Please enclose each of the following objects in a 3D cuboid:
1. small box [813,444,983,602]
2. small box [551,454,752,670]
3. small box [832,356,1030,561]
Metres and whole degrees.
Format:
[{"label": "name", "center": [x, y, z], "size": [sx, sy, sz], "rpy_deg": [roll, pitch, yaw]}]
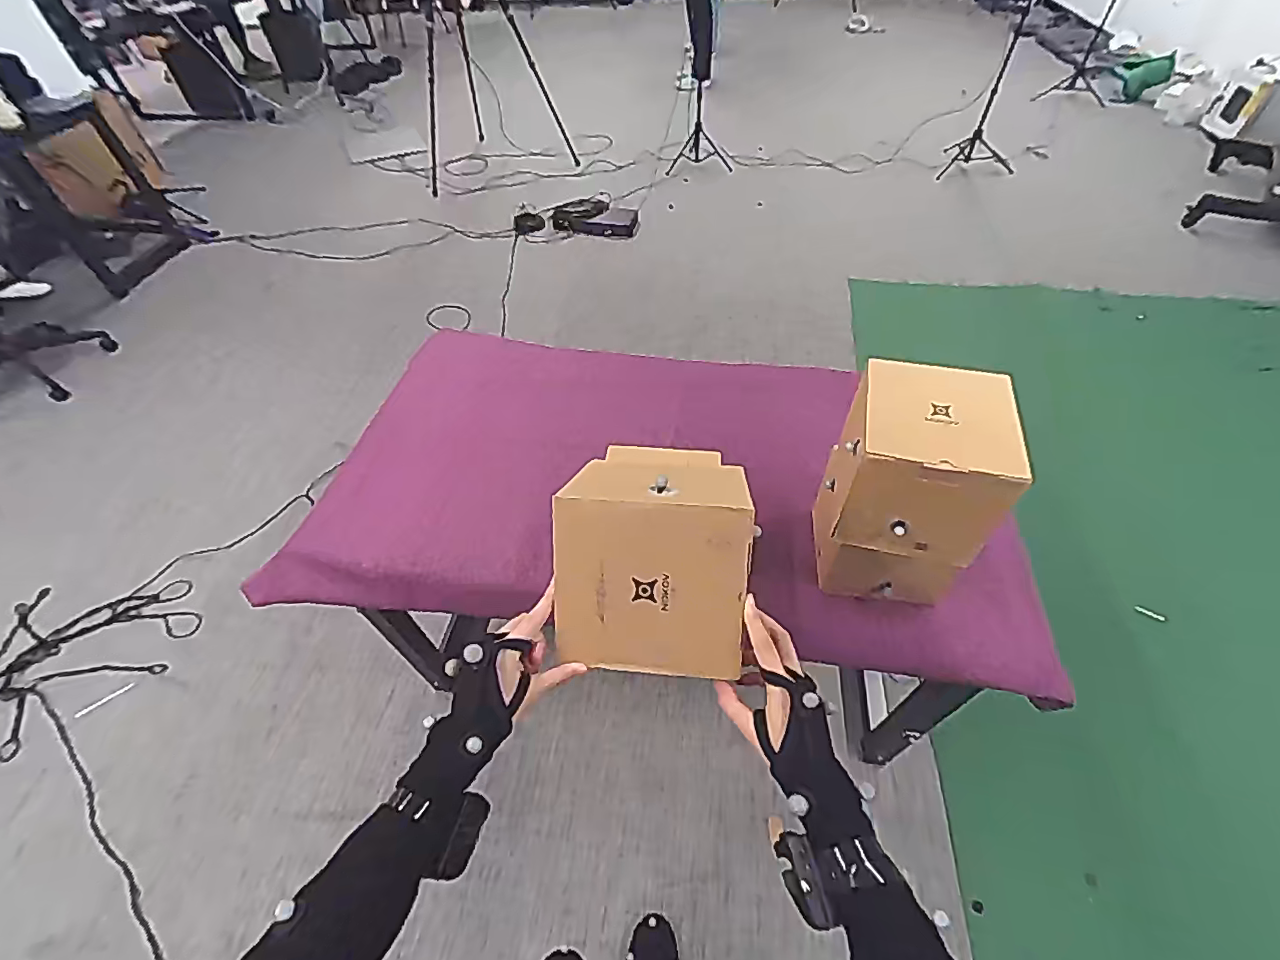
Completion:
[{"label": "small box", "center": [0.369, 0.067, 0.811], "size": [0.179, 0.176, 0.168], "rpy_deg": [5, 48, 7]}, {"label": "small box", "center": [0.015, 0.070, 0.556], "size": [0.179, 0.168, 0.176], "rpy_deg": [4, 13, 7]}, {"label": "small box", "center": [0.345, -0.027, 0.677], "size": [0.168, 0.176, 0.179], "rpy_deg": [10, 51, 13]}]
